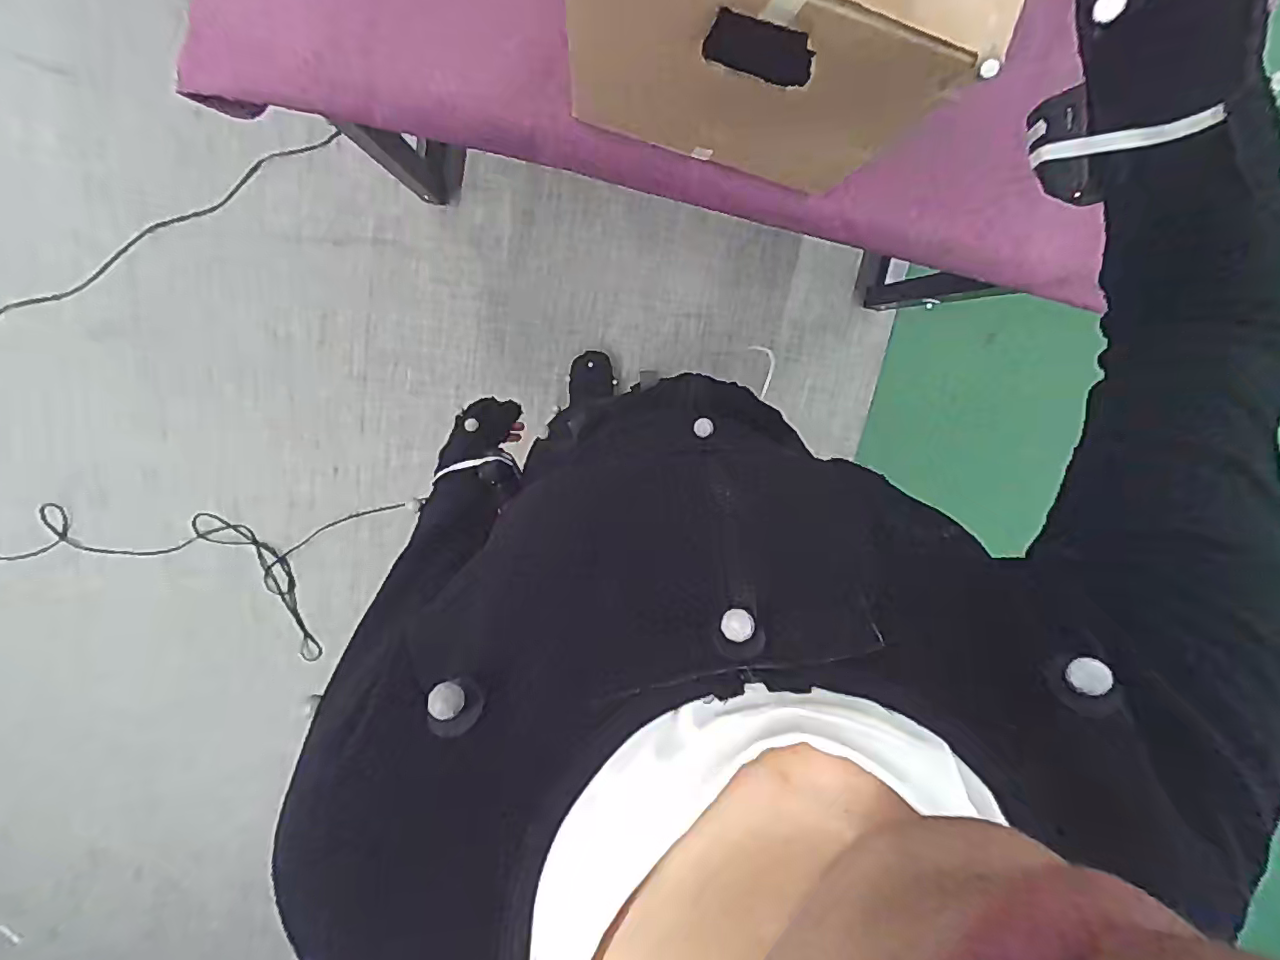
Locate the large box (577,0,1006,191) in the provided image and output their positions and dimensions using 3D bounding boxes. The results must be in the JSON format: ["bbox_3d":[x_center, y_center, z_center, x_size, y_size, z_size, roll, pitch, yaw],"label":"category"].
[{"bbox_3d":[0.133,-0.547,0.479,0.320,0.320,0.408,13,102,-8],"label":"large box"}]
